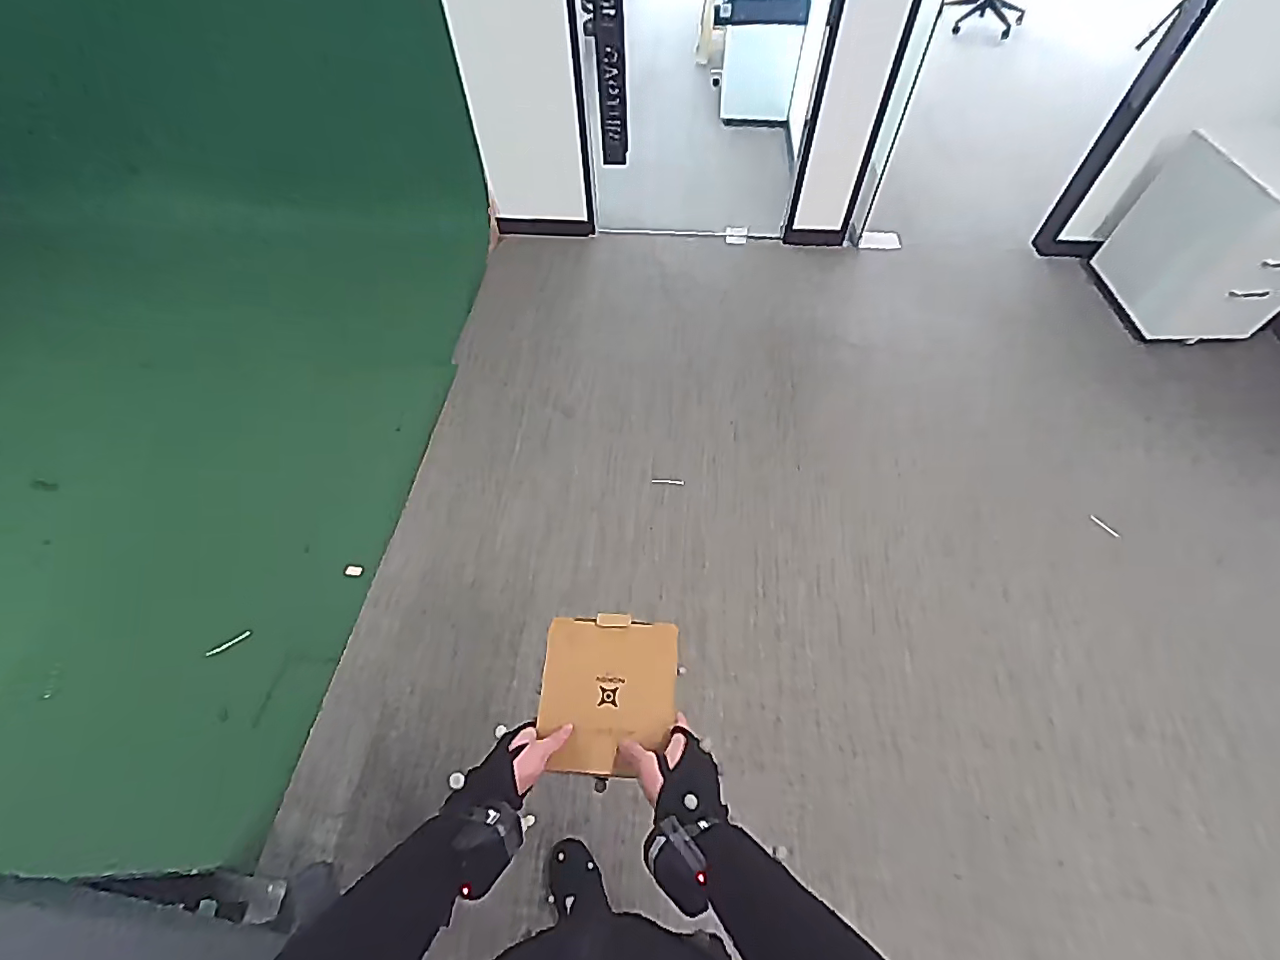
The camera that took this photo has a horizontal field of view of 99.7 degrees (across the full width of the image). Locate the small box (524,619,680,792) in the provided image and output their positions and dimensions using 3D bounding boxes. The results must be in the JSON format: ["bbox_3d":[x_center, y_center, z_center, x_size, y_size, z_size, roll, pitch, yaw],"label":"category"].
[{"bbox_3d":[-0.037,0.296,0.701,0.168,0.176,0.179,3,60,5],"label":"small box"}]
